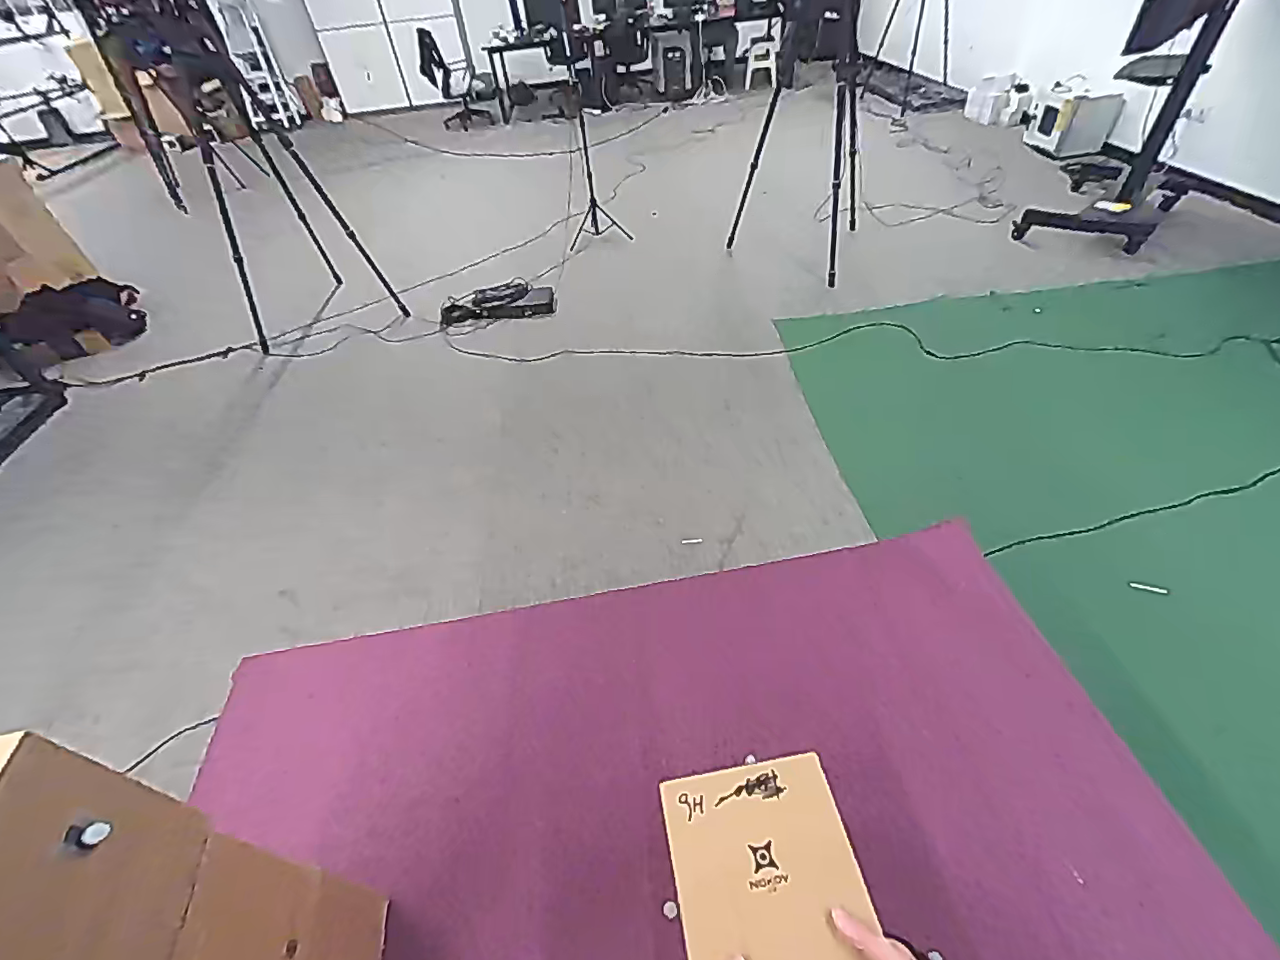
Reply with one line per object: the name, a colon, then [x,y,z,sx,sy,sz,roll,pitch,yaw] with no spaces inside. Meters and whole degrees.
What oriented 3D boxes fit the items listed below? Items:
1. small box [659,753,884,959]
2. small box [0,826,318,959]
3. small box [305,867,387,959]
small box: [0.117,0.407,0.549,0.168,0.176,0.179,-9,46,-3]
small box: [-0.380,0.387,0.398,0.179,0.176,0.168,-11,46,-6]
small box: [-0.363,0.501,0.512,0.168,0.176,0.179,-10,45,-4]
